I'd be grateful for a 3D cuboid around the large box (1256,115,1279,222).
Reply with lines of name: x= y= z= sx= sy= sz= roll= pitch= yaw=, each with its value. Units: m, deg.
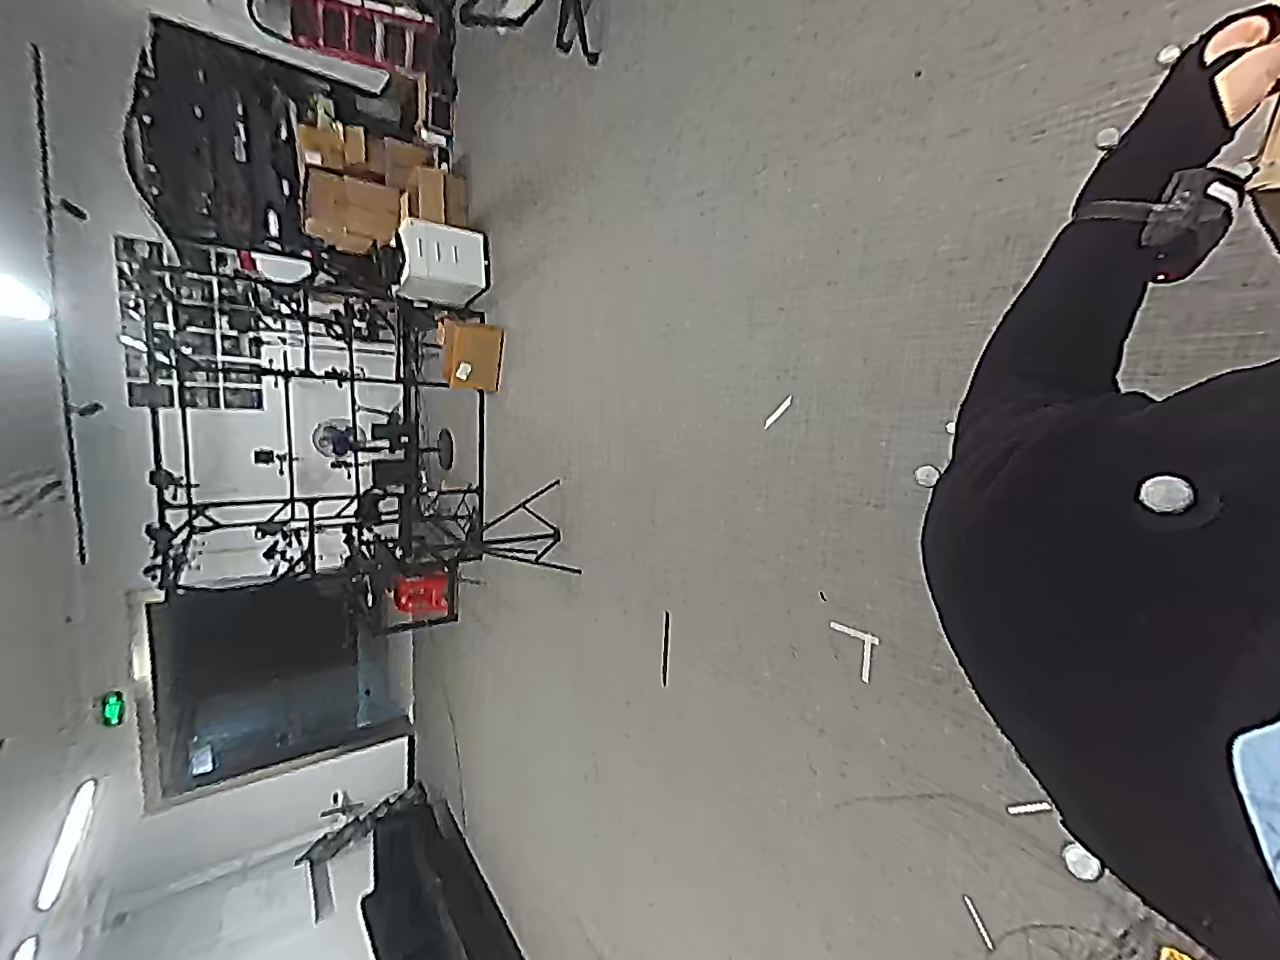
large box: x=0.704 y=-0.311 z=0.289 sx=0.408 sy=0.320 sz=0.320 roll=25 pitch=110 yaw=54
